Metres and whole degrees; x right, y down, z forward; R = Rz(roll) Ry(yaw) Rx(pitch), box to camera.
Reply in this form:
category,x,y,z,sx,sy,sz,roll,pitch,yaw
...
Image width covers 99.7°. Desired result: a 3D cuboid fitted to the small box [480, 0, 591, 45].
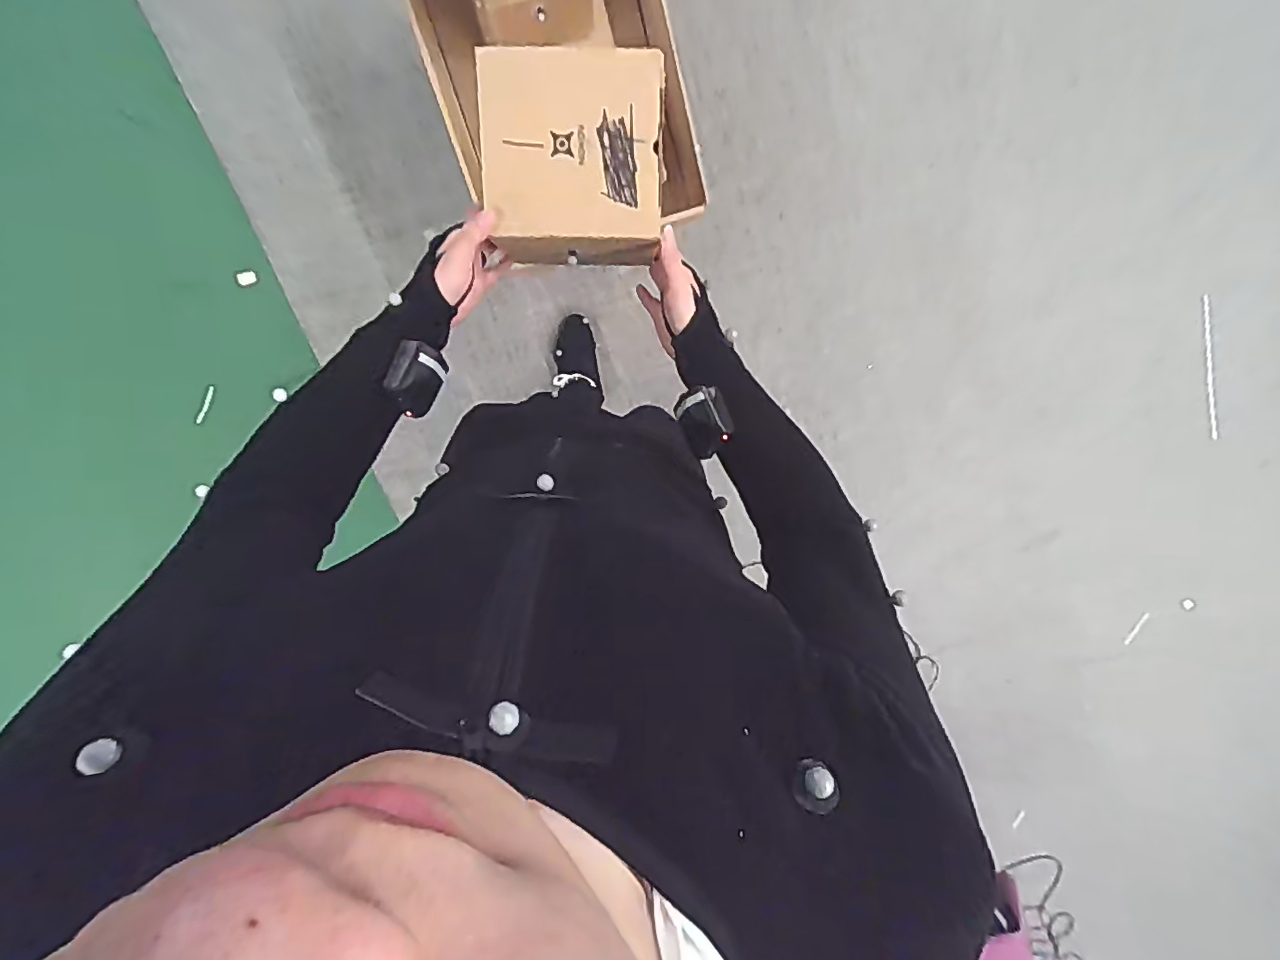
category,x,y,z,sx,sy,sz,roll,pitch,yaw
small box,-0.181,-0.834,0.883,0.179,0.176,0.168,-15,107,-2

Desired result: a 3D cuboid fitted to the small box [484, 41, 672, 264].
category,x,y,z,sx,sy,sz,roll,pitch,yaw
small box,-0.061,-0.340,0.594,0.179,0.176,0.168,1,102,-1
